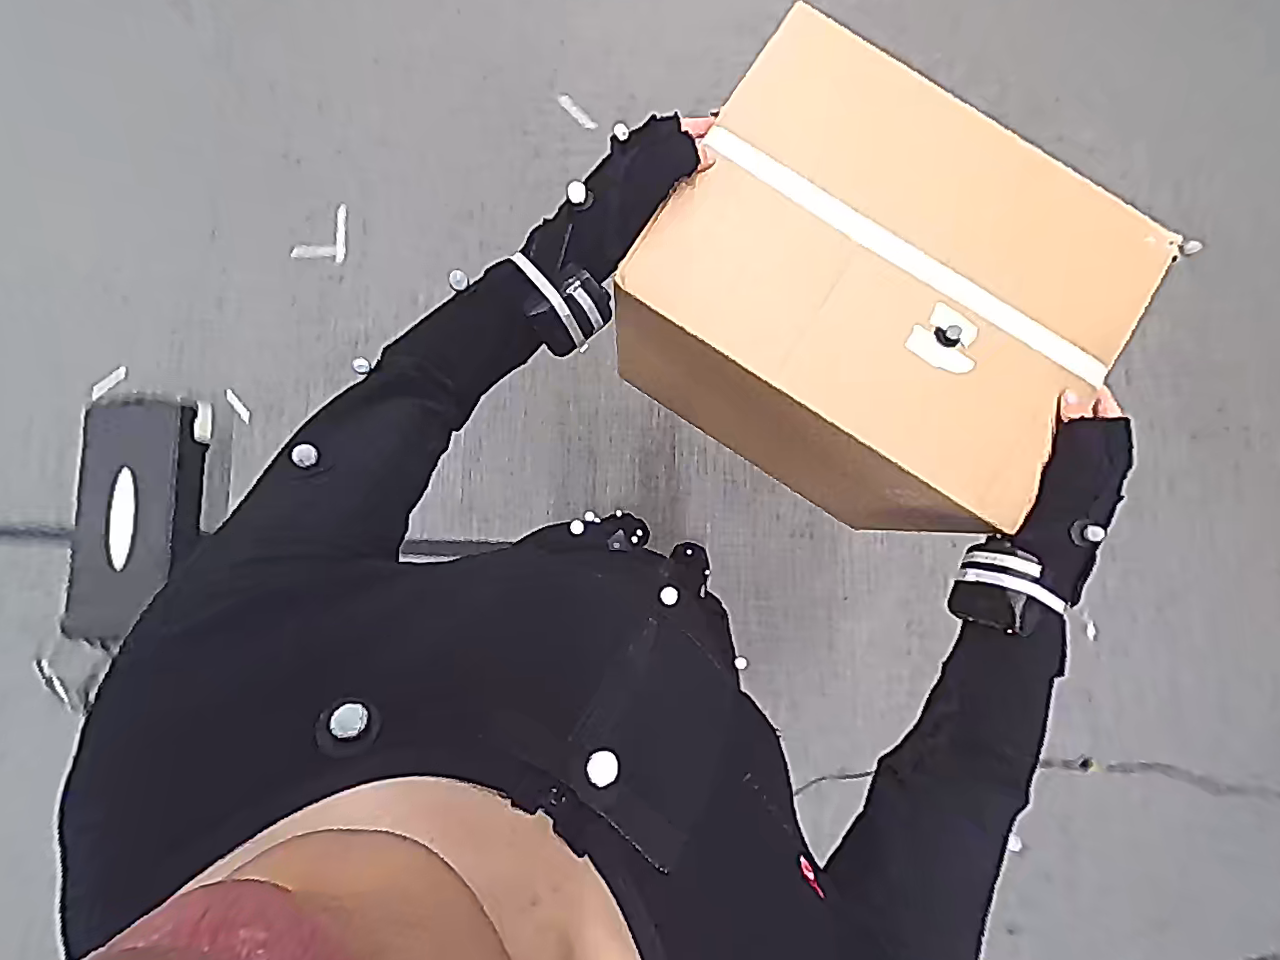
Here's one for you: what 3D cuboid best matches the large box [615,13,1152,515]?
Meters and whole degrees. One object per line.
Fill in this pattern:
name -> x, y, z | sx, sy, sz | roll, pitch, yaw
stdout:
large box -> 0.215, -0.190, 0.628 | 0.408, 0.320, 0.320 | 32, 86, 1
